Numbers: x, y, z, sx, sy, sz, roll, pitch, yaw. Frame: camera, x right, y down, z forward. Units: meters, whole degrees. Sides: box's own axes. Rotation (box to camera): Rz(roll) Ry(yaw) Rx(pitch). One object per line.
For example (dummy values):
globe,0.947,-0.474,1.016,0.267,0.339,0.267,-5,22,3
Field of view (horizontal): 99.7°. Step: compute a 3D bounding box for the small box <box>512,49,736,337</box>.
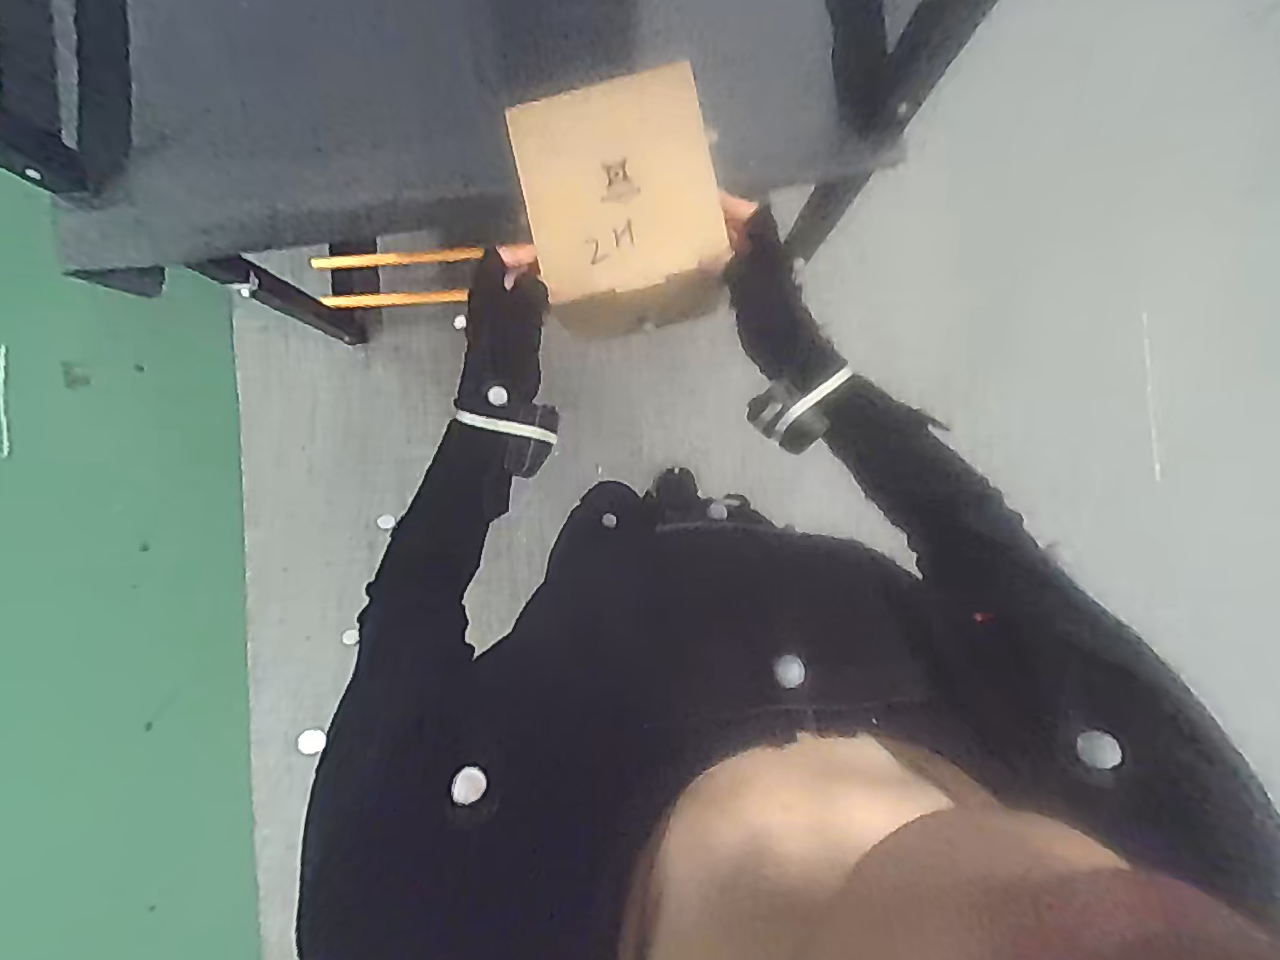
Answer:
small box,-0.011,-0.264,0.538,0.168,0.176,0.179,-12,89,4
